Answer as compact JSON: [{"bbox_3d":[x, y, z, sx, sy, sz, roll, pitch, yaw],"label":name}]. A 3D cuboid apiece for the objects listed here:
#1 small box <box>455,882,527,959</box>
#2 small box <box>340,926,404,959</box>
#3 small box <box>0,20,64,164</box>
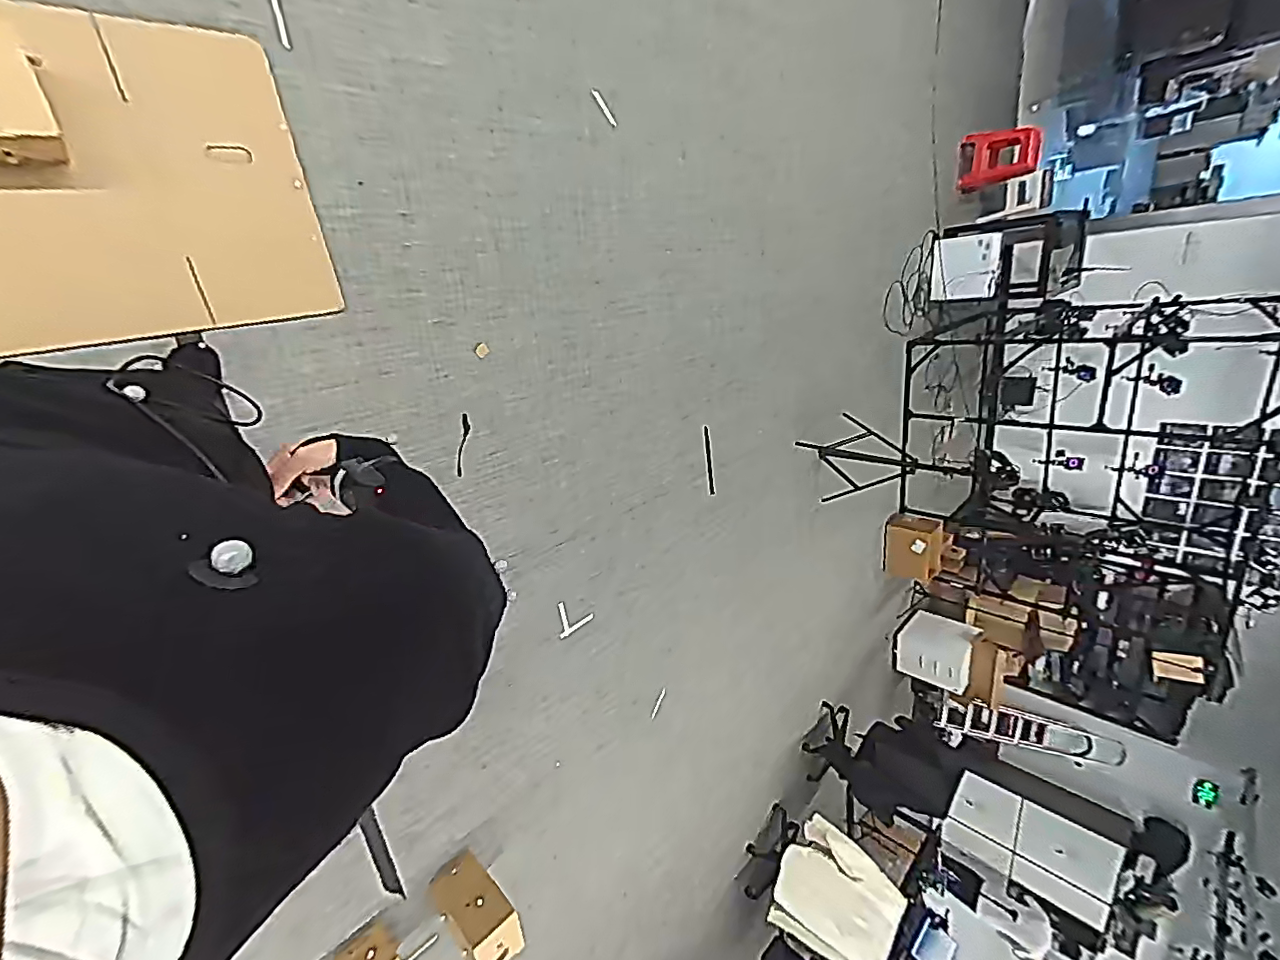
[{"bbox_3d":[-0.513,1.547,1.859,0.168,0.176,0.179,-23,114,-40],"label":"small box"},{"bbox_3d":[-0.864,1.622,1.766,0.168,0.176,0.179,-27,118,-38],"label":"small box"},{"bbox_3d":[-1.152,-0.668,0.934,0.168,0.176,0.179,-26,117,-37],"label":"small box"}]
